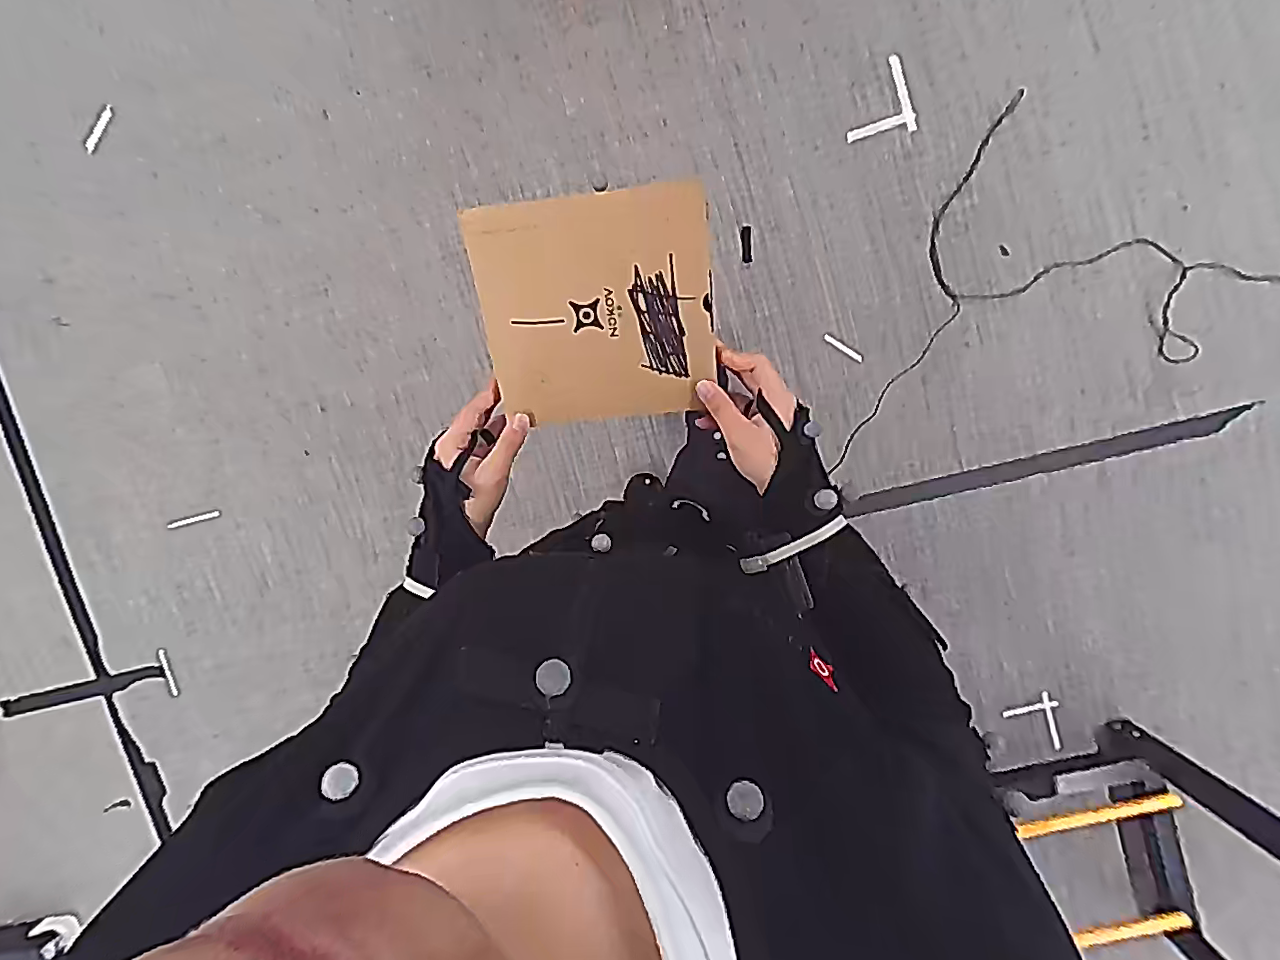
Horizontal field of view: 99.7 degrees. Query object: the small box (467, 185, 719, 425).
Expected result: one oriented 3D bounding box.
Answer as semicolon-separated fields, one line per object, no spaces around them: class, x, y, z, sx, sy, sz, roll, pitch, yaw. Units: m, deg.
small box;-0.030;-0.161;0.486;0.179;0.176;0.168;-6;115;3
